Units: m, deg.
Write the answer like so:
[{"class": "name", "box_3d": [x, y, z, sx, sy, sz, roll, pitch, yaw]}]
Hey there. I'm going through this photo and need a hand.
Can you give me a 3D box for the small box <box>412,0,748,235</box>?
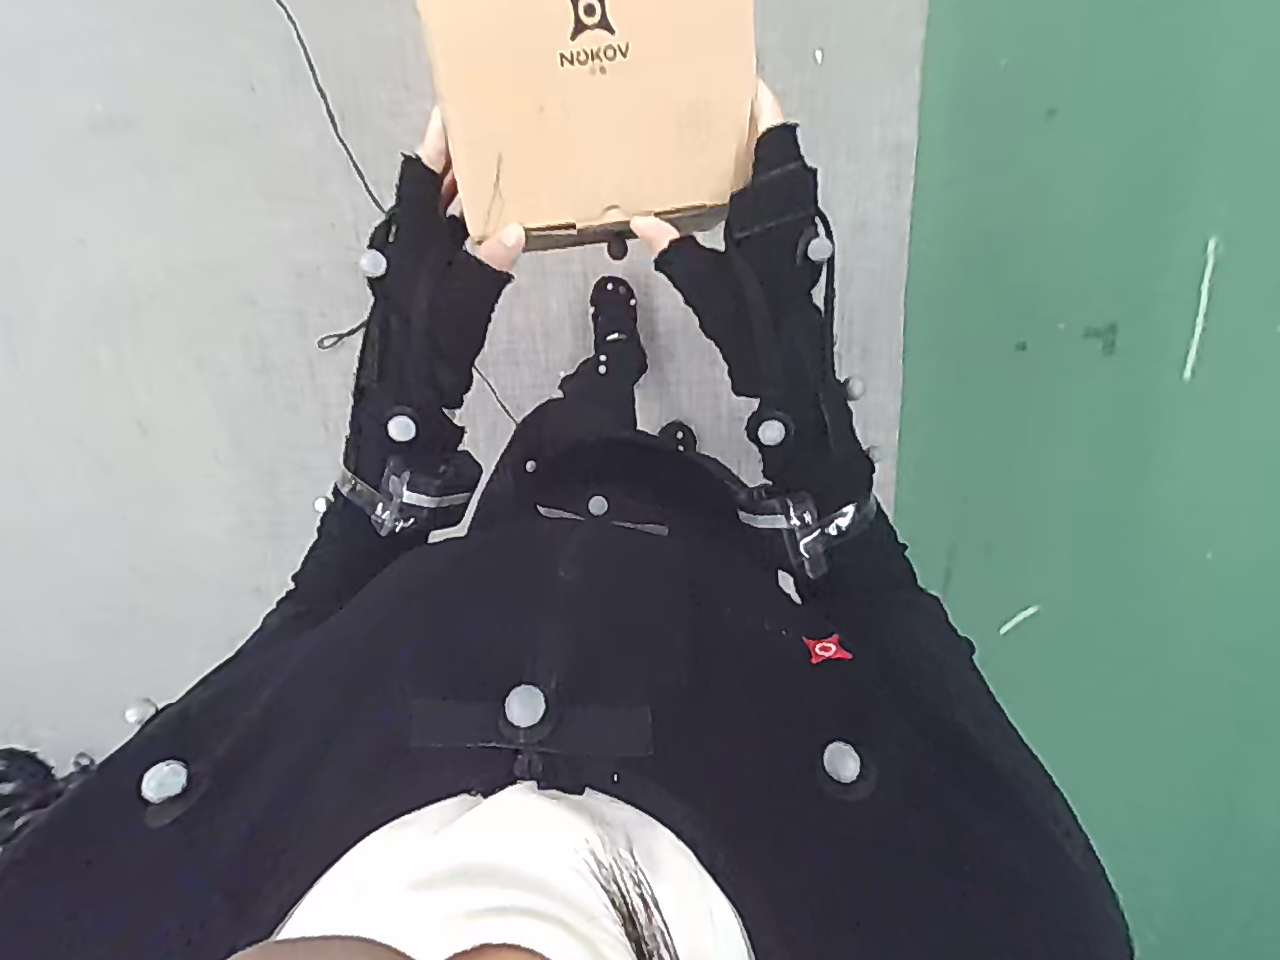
[{"class": "small box", "box_3d": [-0.030, -0.261, 0.345, 0.168, 0.176, 0.179, -8, 112, 2]}]
